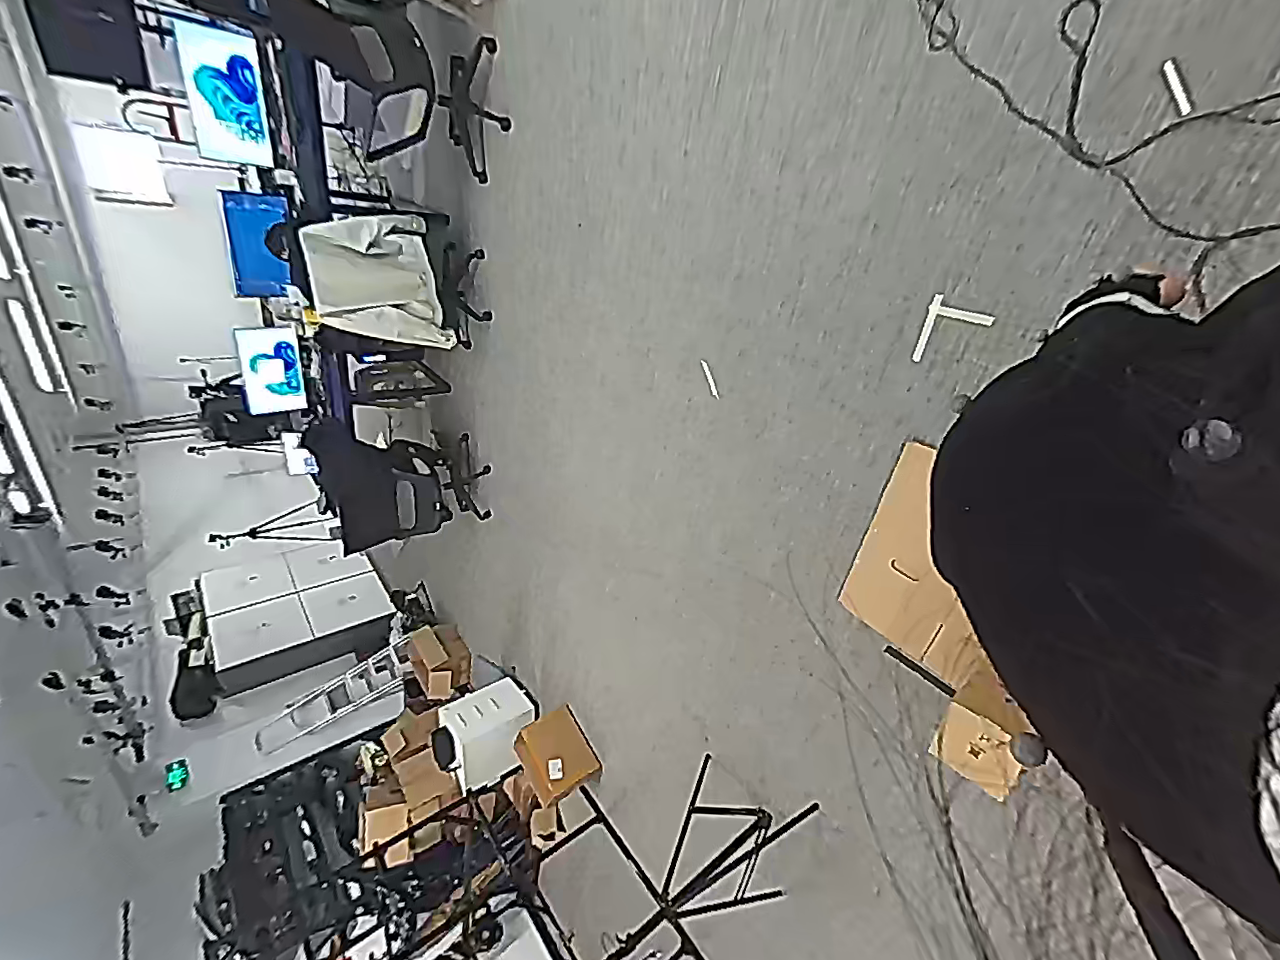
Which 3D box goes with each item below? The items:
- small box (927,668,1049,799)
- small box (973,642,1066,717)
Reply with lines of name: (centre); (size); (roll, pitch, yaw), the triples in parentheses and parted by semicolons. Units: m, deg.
small box: (0.806, 0.577, 1.250); (0.168, 0.176, 0.179); (30, 124, 41)
small box: (0.929, 0.539, 1.353); (0.168, 0.176, 0.179); (29, 123, 43)
